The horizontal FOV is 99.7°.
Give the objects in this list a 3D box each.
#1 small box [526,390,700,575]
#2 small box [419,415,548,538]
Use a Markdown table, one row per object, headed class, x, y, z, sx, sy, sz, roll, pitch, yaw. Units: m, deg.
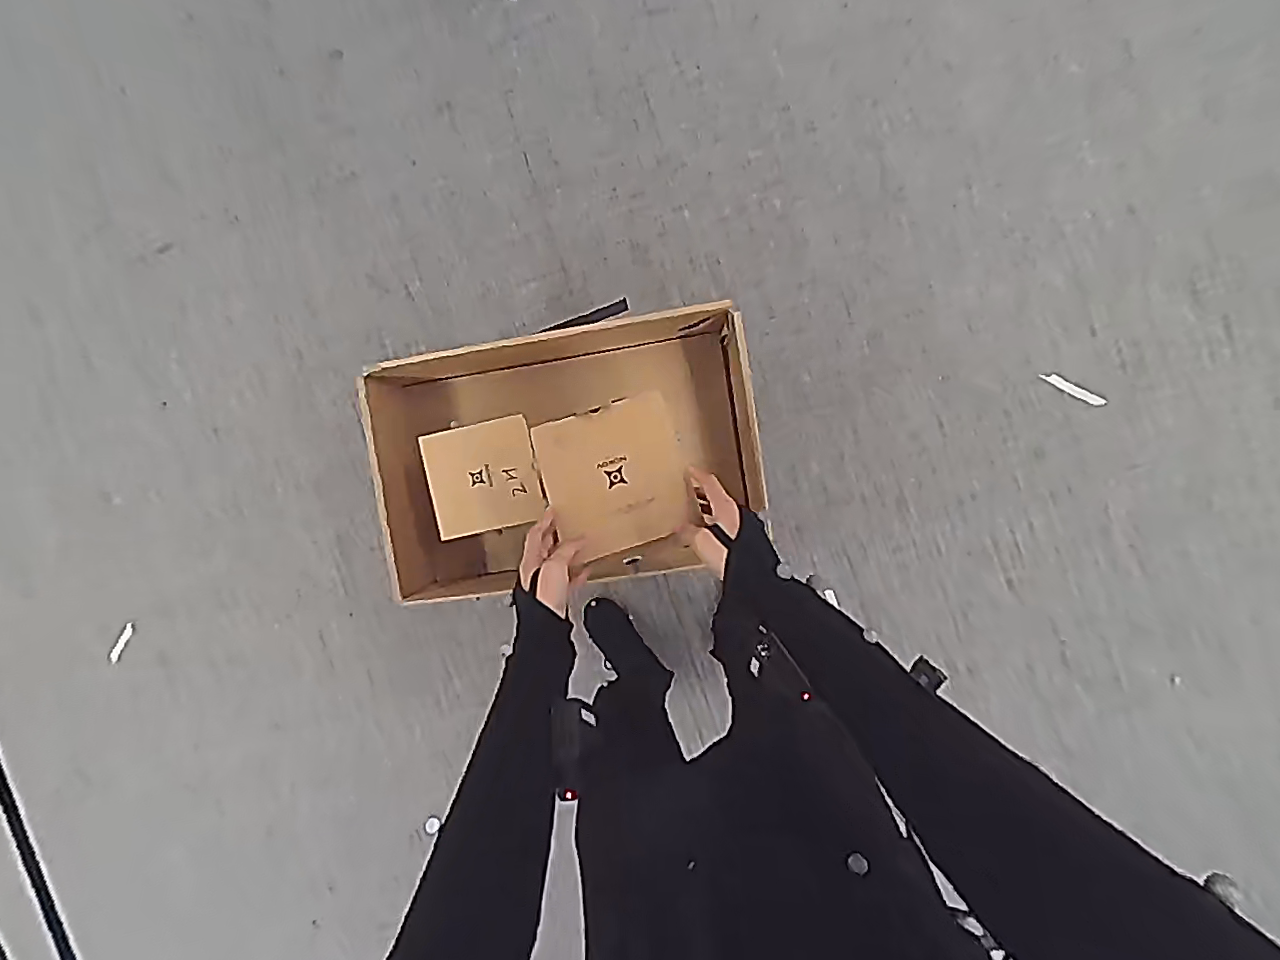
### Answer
| class | x | y | z | sx | sy | sz | roll | pitch | yaw |
| --- | --- | --- | --- | --- | --- | --- | --- | --- | --- |
| small box | -0.031 | 0.013 | 0.698 | 0.168 | 0.176 | 0.179 | -18 | 76 | -1 |
| small box | -0.235 | -0.007 | 0.904 | 0.179 | 0.176 | 0.168 | -12 | 93 | 4 |
